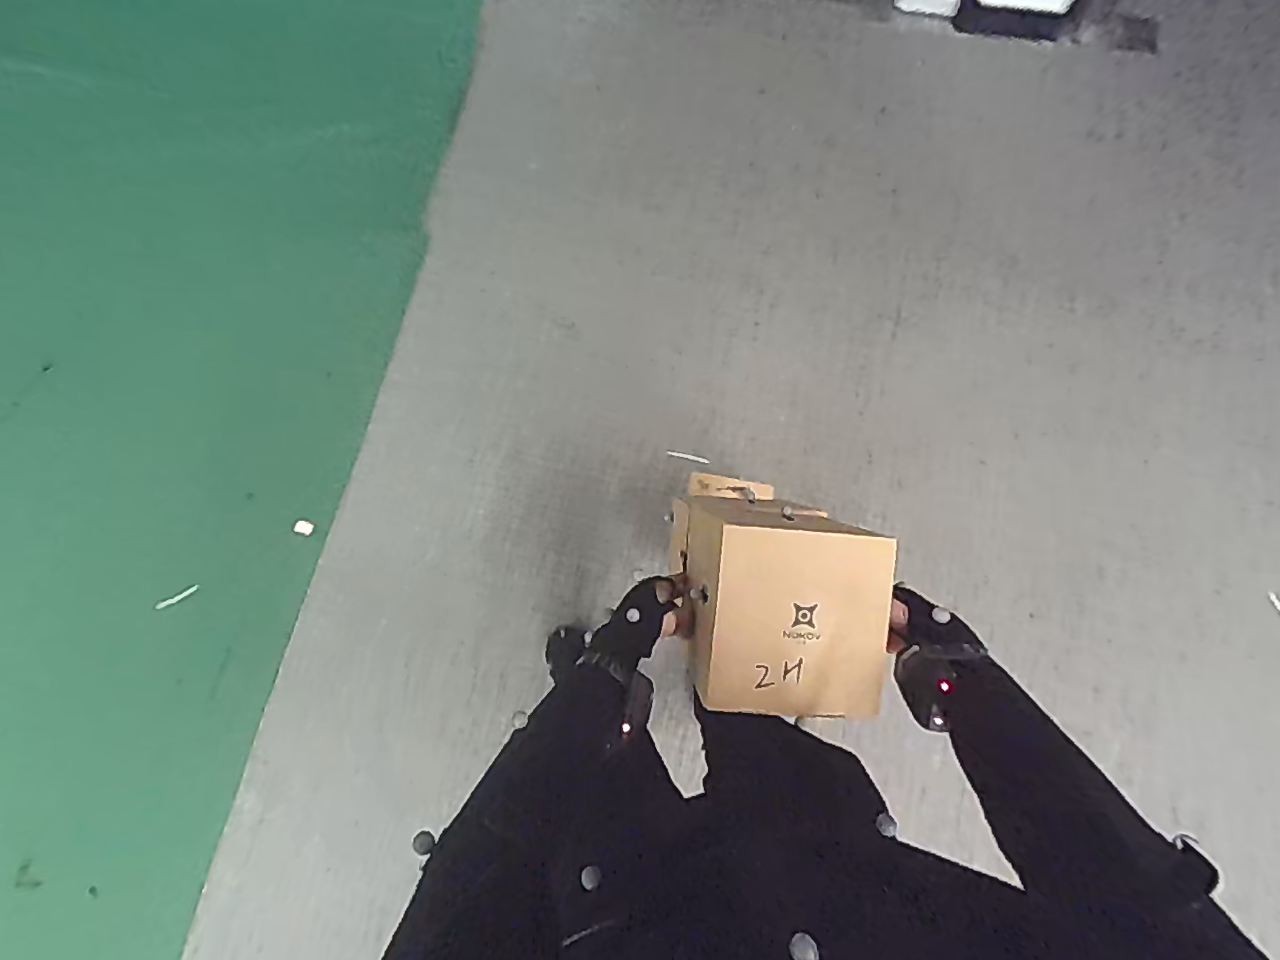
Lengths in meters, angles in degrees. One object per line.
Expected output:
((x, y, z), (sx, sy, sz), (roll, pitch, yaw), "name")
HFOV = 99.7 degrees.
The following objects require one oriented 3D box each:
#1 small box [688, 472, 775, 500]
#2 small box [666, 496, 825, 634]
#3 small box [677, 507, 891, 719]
((0.172, 0.097, 1.120), (0.168, 0.176, 0.179), (11, 80, 6), "small box")
((0.130, 0.112, 0.735), (0.179, 0.176, 0.168), (2, 93, -4), "small box")
((0.136, 0.125, 0.570), (0.168, 0.176, 0.179), (5, 93, -4), "small box")
